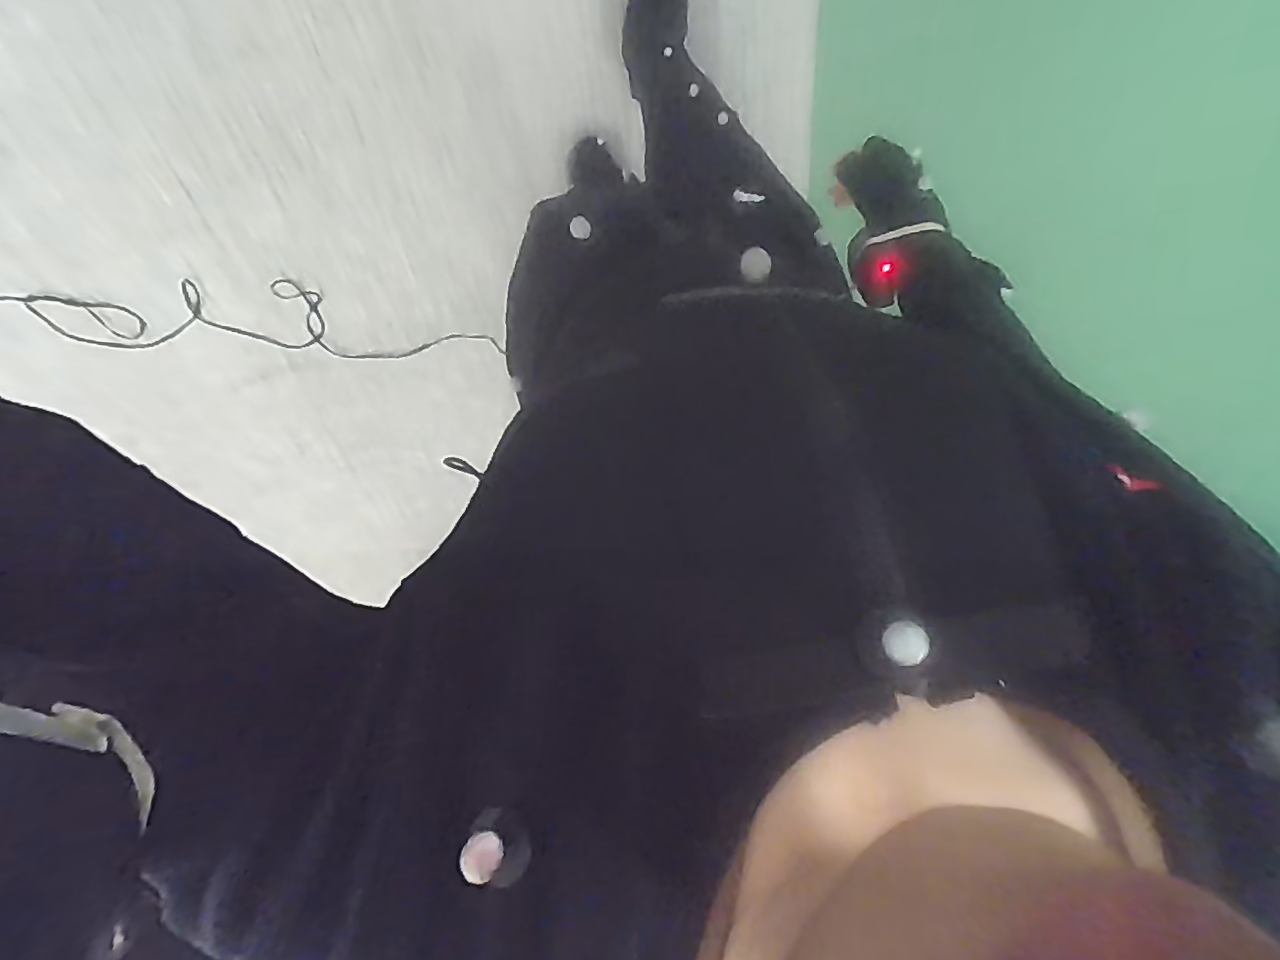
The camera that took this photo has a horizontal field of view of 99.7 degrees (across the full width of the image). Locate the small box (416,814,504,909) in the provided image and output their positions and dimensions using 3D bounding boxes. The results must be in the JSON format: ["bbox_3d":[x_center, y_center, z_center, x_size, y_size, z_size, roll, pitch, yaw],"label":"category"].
[{"bbox_3d":[-0.480,1.037,1.473,0.168,0.176,0.179,-10,130,1],"label":"small box"}]
